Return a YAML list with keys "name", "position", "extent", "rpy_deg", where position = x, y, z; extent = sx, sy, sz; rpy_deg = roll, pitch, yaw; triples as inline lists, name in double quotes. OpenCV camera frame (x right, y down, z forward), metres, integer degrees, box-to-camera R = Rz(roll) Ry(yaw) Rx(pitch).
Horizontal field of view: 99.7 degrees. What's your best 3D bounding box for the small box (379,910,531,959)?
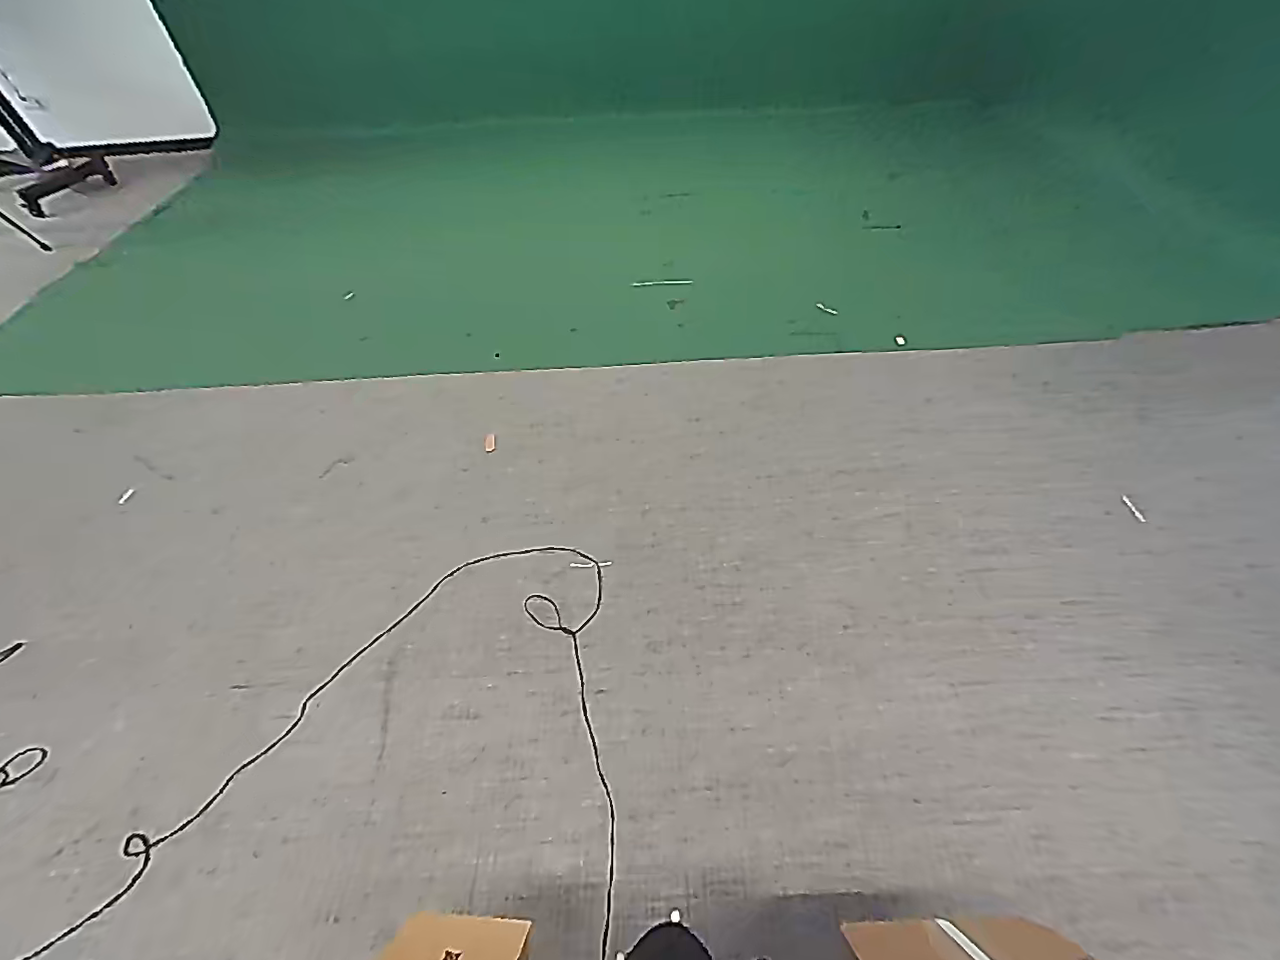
- name: "small box"
  position: [-0.237, 0.663, 0.643]
  extent: [0.168, 0.179, 0.176]
  rpy_deg: [3, 80, 2]
